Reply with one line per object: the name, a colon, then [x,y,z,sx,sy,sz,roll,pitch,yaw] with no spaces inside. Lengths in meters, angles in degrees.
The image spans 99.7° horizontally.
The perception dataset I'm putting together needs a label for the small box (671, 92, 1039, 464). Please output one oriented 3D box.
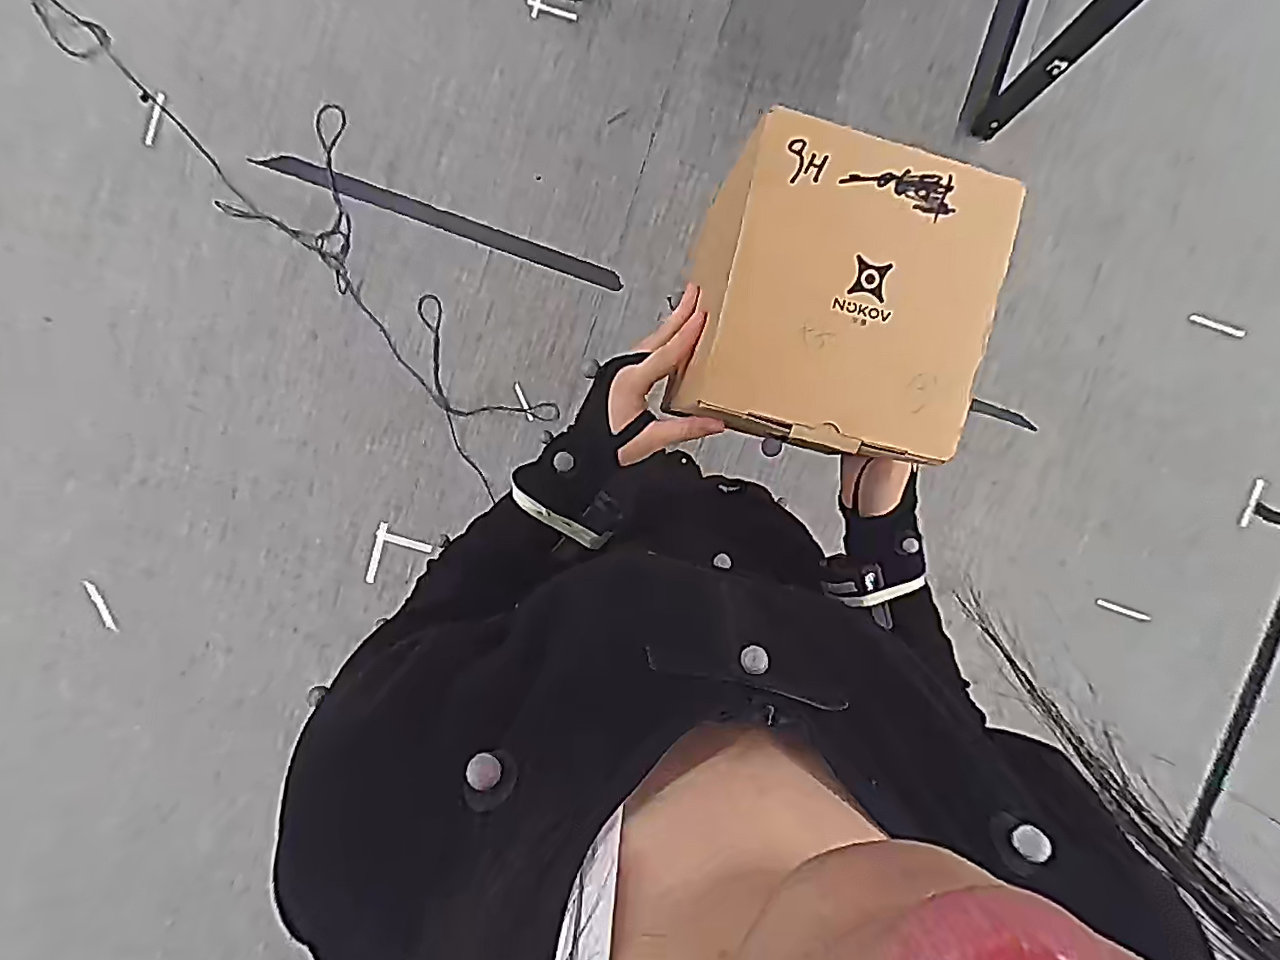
small box: [0.126,-0.120,0.391,0.168,0.176,0.179,13,95,-8]
